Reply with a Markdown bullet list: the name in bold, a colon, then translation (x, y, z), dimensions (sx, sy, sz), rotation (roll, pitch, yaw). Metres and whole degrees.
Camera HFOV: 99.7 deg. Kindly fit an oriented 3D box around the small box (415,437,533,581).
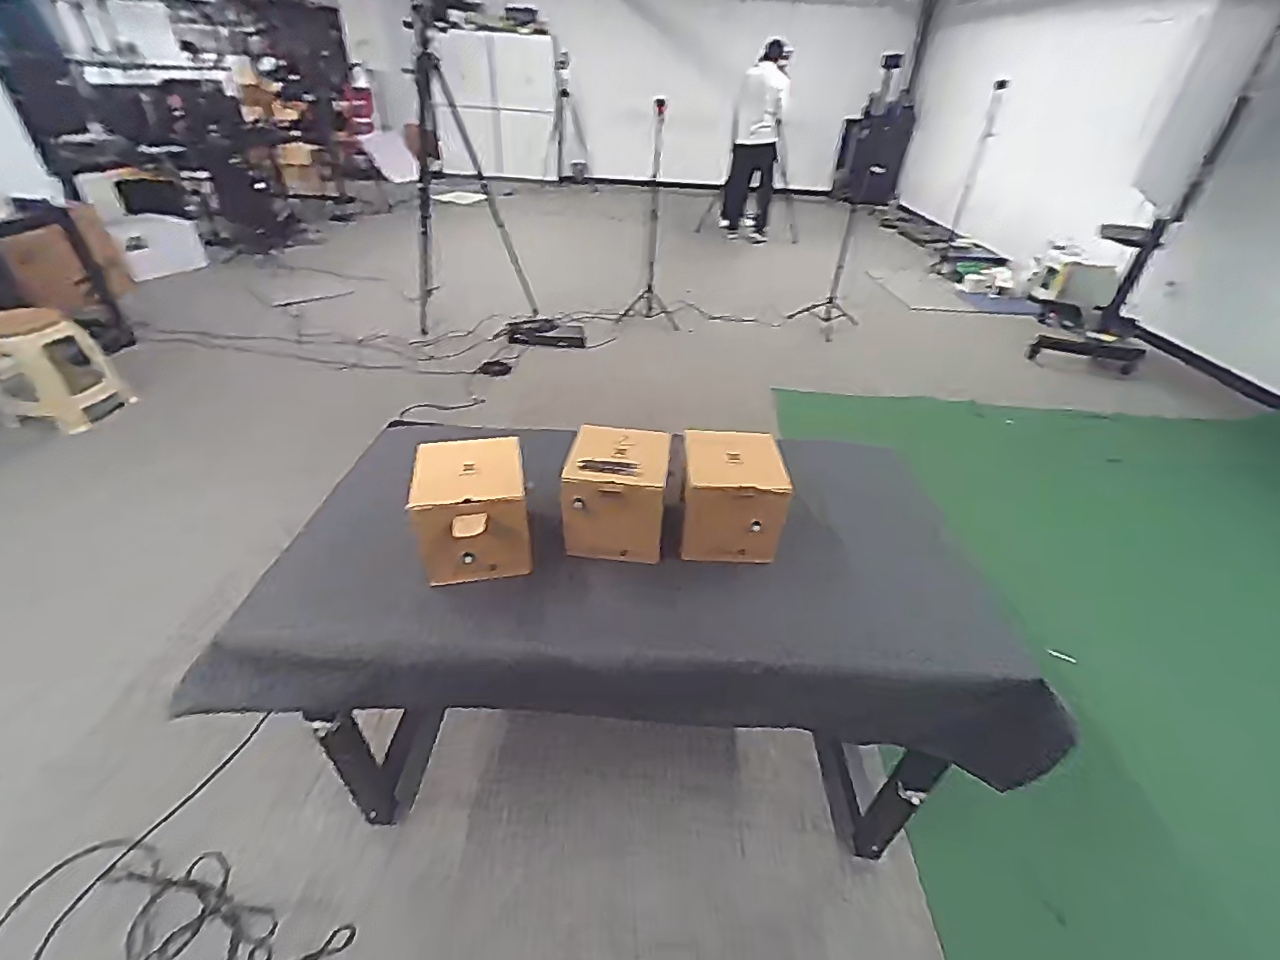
- **small box**: translation (-0.271, 0.046, 0.913), dimensions (0.168, 0.176, 0.179), rotation (-5, 37, -13)
